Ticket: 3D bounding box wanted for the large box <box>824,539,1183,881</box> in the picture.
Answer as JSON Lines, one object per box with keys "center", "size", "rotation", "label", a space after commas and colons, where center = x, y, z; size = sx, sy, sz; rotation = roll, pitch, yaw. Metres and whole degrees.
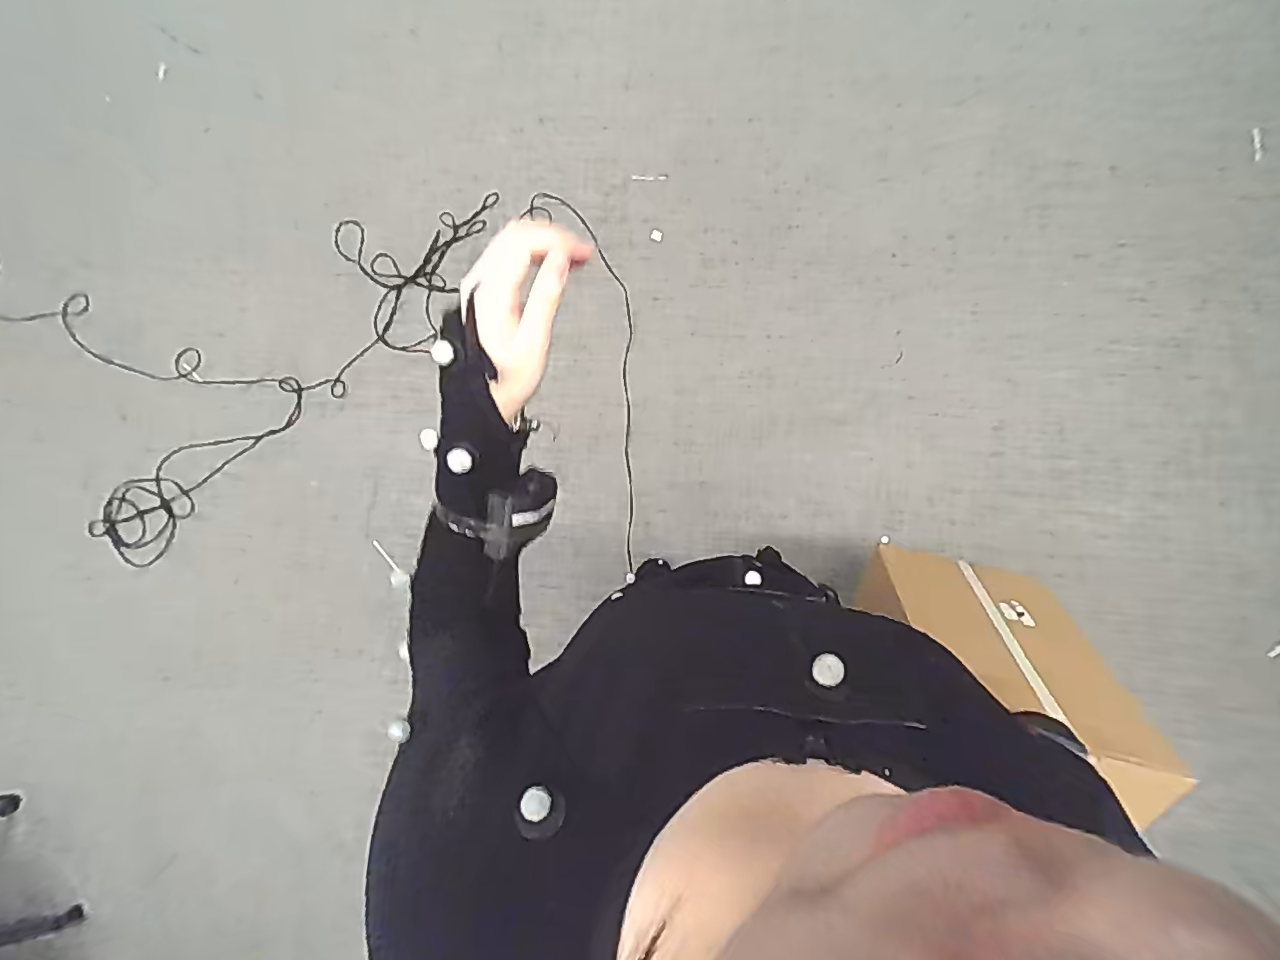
{"center": [0.539, 0.364, 0.924], "size": [0.320, 0.408, 0.320], "rotation": [13, 119, 3], "label": "large box"}
